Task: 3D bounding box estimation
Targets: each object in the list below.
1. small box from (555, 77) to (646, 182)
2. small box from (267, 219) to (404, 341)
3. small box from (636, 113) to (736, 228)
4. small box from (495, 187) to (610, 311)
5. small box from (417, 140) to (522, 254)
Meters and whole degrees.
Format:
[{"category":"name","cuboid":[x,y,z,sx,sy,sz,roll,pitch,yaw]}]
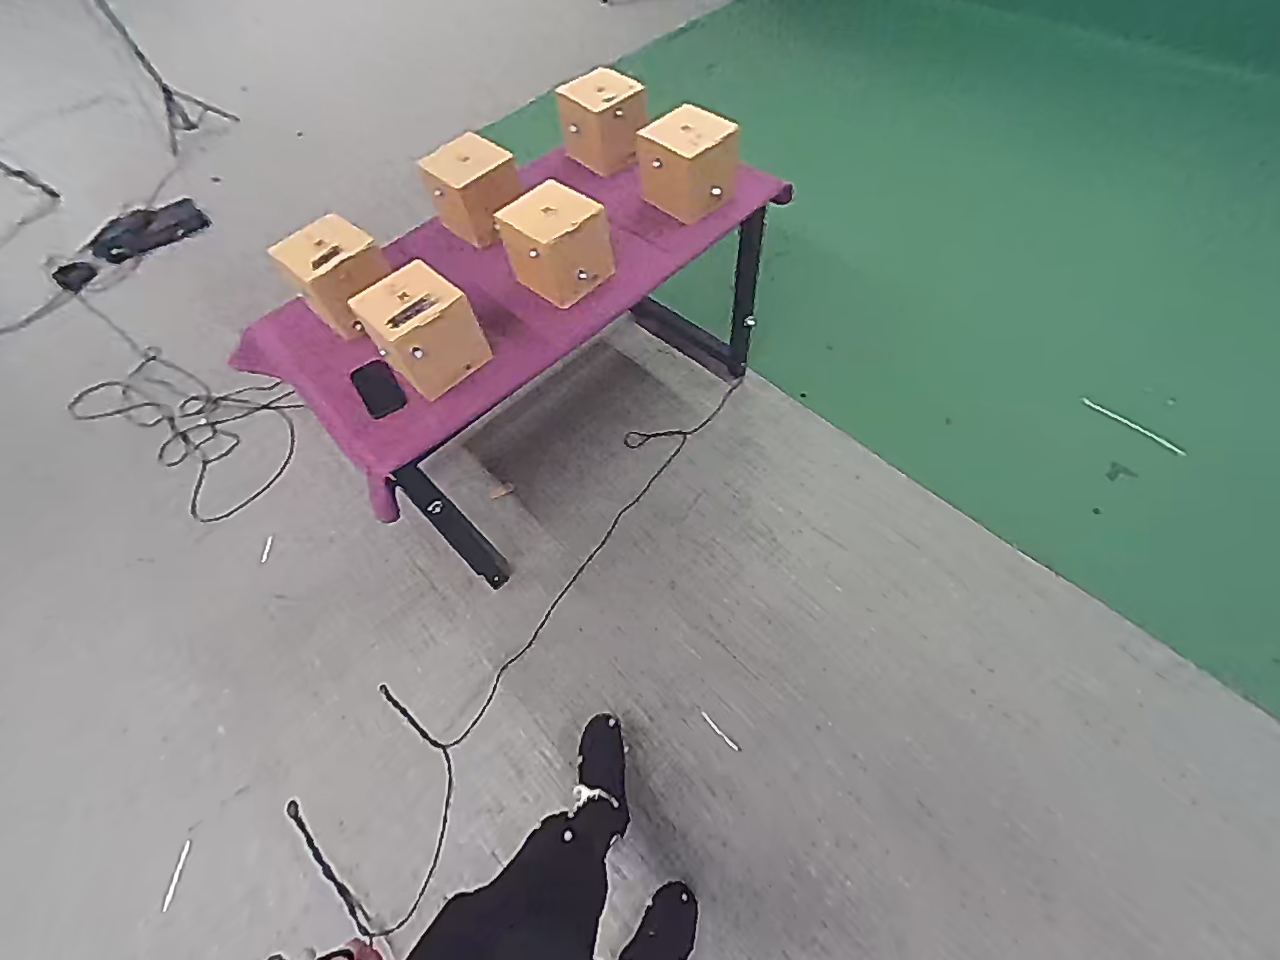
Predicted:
[{"category":"small box","cuboid":[-0.101,-0.940,1.458,0.168,0.176,0.179,-39,63,-16]},{"category":"small box","cuboid":[-0.665,-0.437,1.202,0.179,0.176,0.168,36,67,24]},{"category":"small box","cuboid":[0.112,-0.750,1.319,0.168,0.176,0.179,-40,63,-16]},{"category":"small box","cuboid":[-0.189,-0.510,1.205,0.179,0.176,0.168,38,68,25]},{"category":"small box","cuboid":[-0.409,-0.696,1.339,0.168,0.176,0.179,-42,65,-18]}]
